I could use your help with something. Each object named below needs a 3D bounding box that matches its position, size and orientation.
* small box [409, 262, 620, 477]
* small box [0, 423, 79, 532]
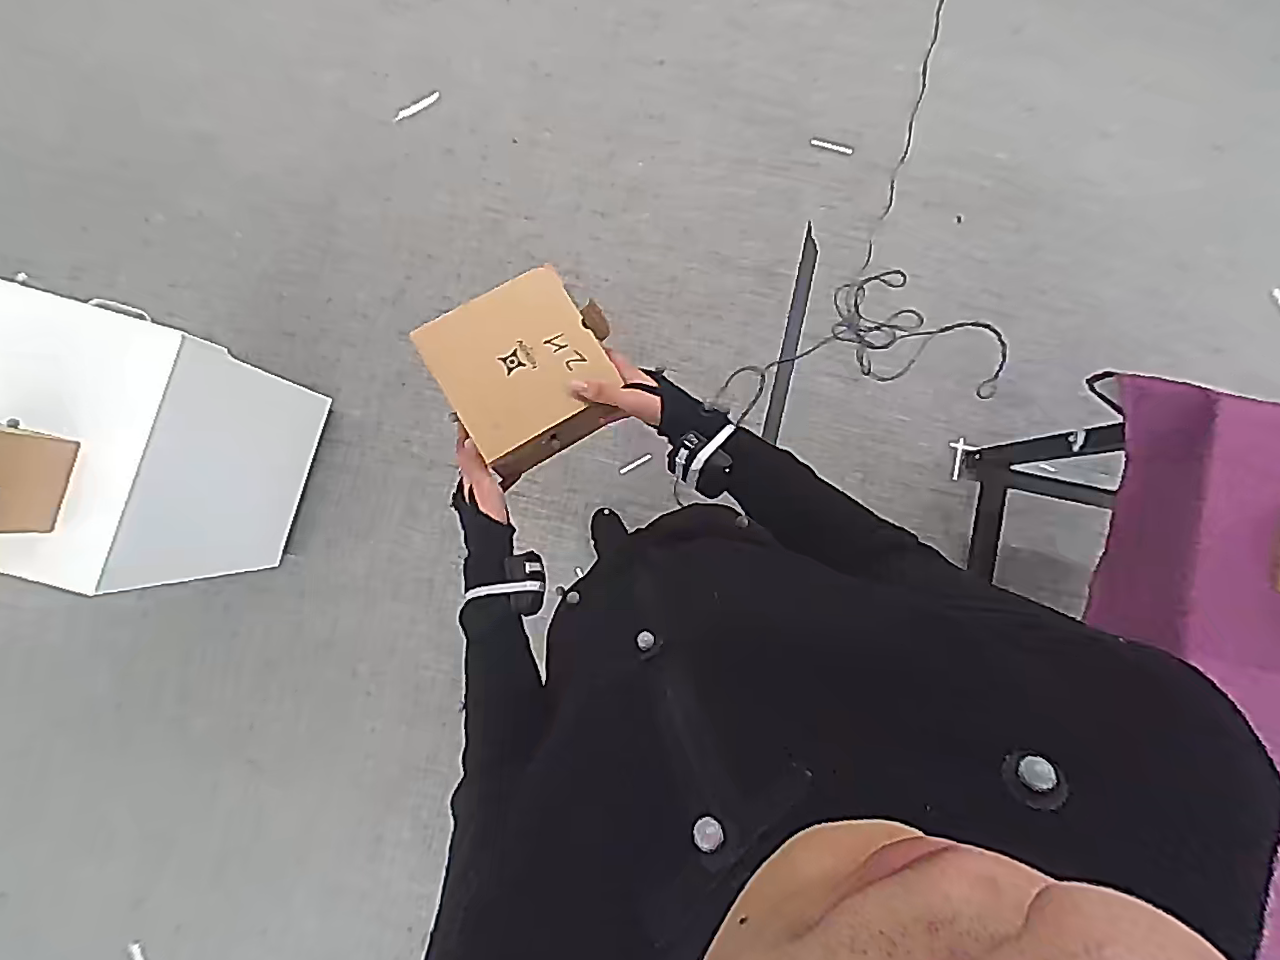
[{"bbox_3d":[-0.142,-0.120,0.662,0.179,0.176,0.168,-32,87,-10],"label":"small box"},{"bbox_3d":[-1.131,-0.009,0.919,0.168,0.176,0.179,13,85,-2],"label":"small box"}]
